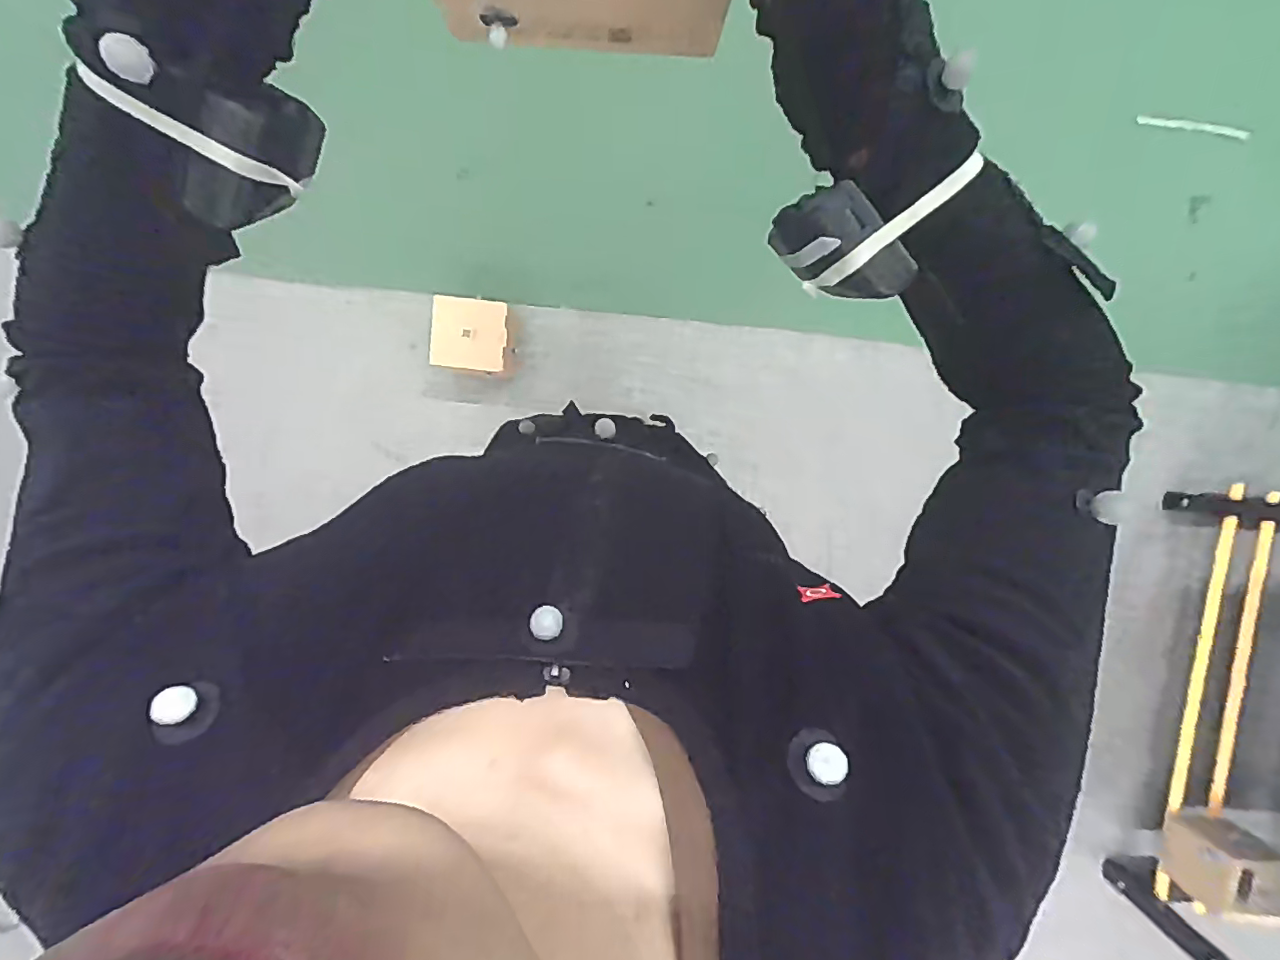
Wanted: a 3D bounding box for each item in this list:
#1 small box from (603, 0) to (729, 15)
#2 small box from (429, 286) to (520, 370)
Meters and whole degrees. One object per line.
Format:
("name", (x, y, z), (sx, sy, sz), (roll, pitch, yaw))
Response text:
("small box", (-0.018, -0.354, 0.239), (0.168, 0.176, 0.179), (2, 102, -2))
("small box", (-0.406, -0.371, 1.348), (0.179, 0.176, 0.168), (5, 96, -3))
